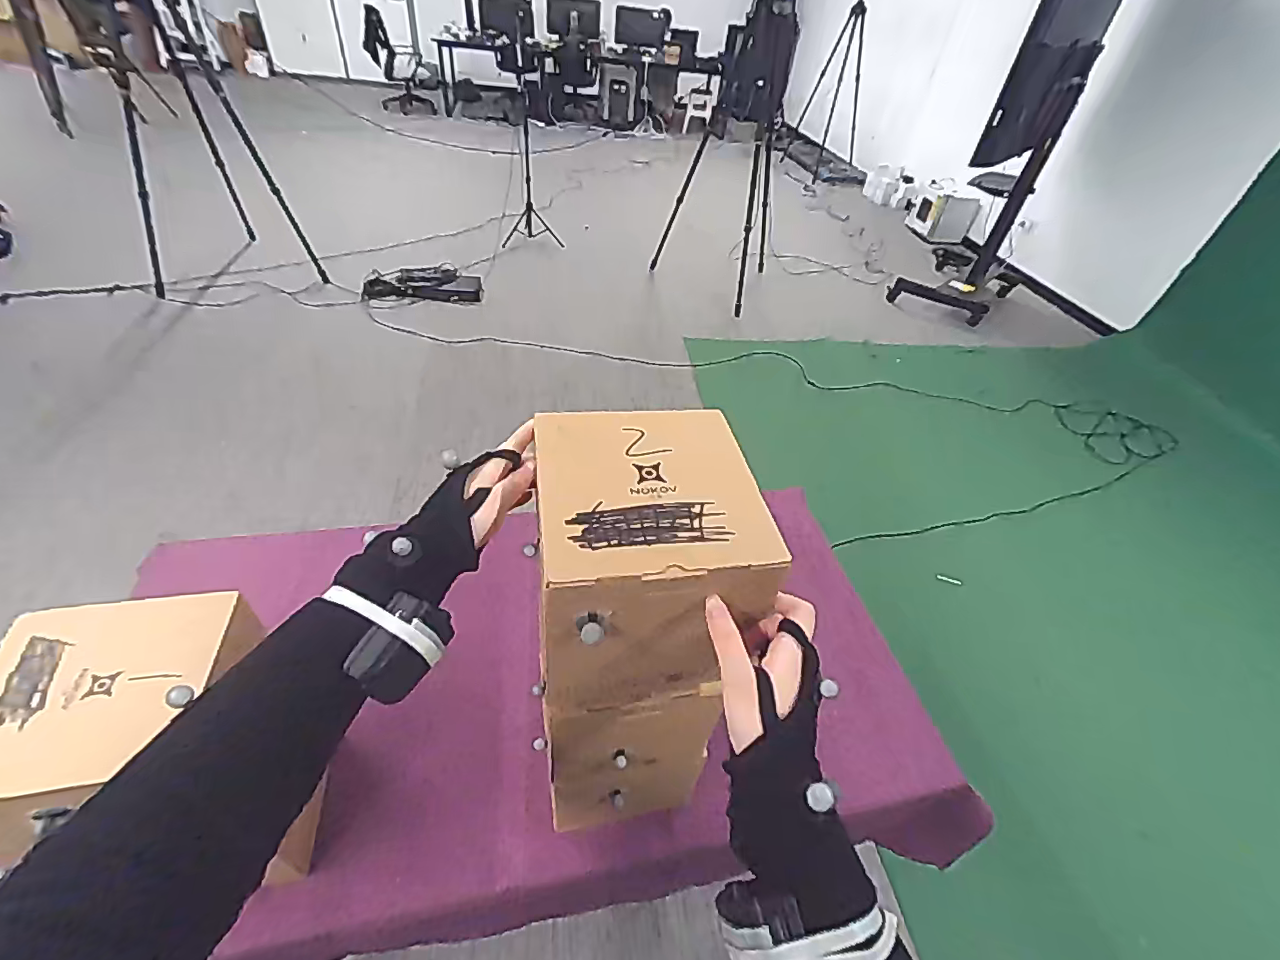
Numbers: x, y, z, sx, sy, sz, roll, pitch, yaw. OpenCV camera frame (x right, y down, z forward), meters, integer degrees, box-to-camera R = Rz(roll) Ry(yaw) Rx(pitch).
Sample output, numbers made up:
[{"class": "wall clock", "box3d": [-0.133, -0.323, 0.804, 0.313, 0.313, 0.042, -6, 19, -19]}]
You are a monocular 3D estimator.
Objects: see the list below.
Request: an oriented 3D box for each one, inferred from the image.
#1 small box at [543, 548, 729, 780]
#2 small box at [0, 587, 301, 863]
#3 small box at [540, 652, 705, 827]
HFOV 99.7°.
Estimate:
[{"class": "small box", "box3d": [-0.021, 0.198, 0.594, 0.168, 0.176, 0.179, -4, 44, -12]}, {"class": "small box", "box3d": [-0.453, 0.226, 0.502, 0.179, 0.176, 0.168, -7, 45, -13]}, {"class": "small box", "box3d": [-0.031, 0.322, 0.701, 0.179, 0.176, 0.168, -5, 44, -12]}]
